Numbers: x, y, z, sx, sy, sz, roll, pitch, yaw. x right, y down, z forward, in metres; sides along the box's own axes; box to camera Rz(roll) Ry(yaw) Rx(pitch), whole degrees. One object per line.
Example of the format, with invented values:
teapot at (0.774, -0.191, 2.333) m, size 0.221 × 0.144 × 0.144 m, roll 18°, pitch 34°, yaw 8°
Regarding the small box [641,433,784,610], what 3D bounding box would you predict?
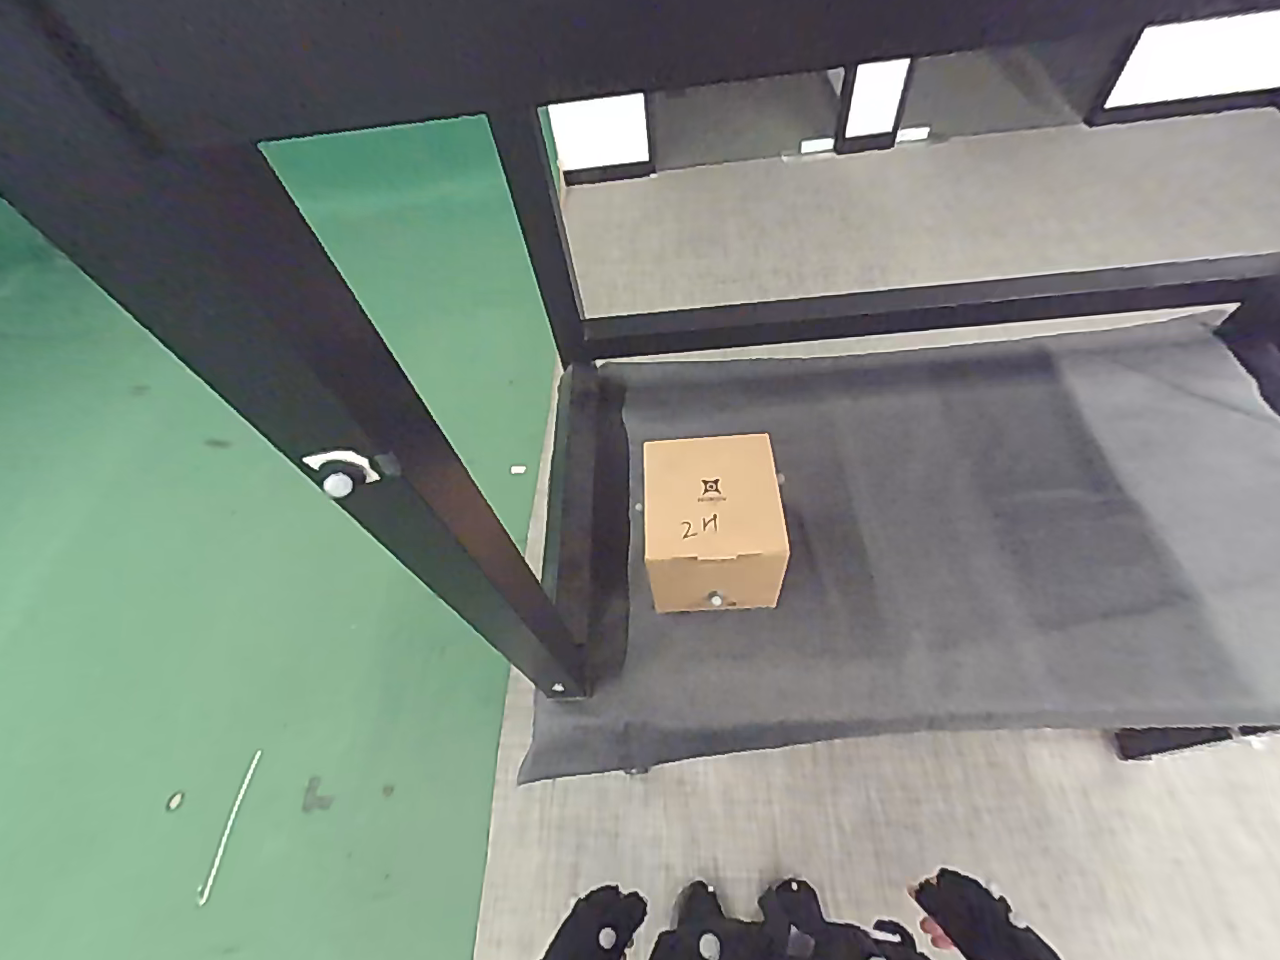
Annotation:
small box at (0.091, 0.059, 0.727) m, size 0.168 × 0.176 × 0.179 m, roll -4°, pitch 55°, yaw 5°
